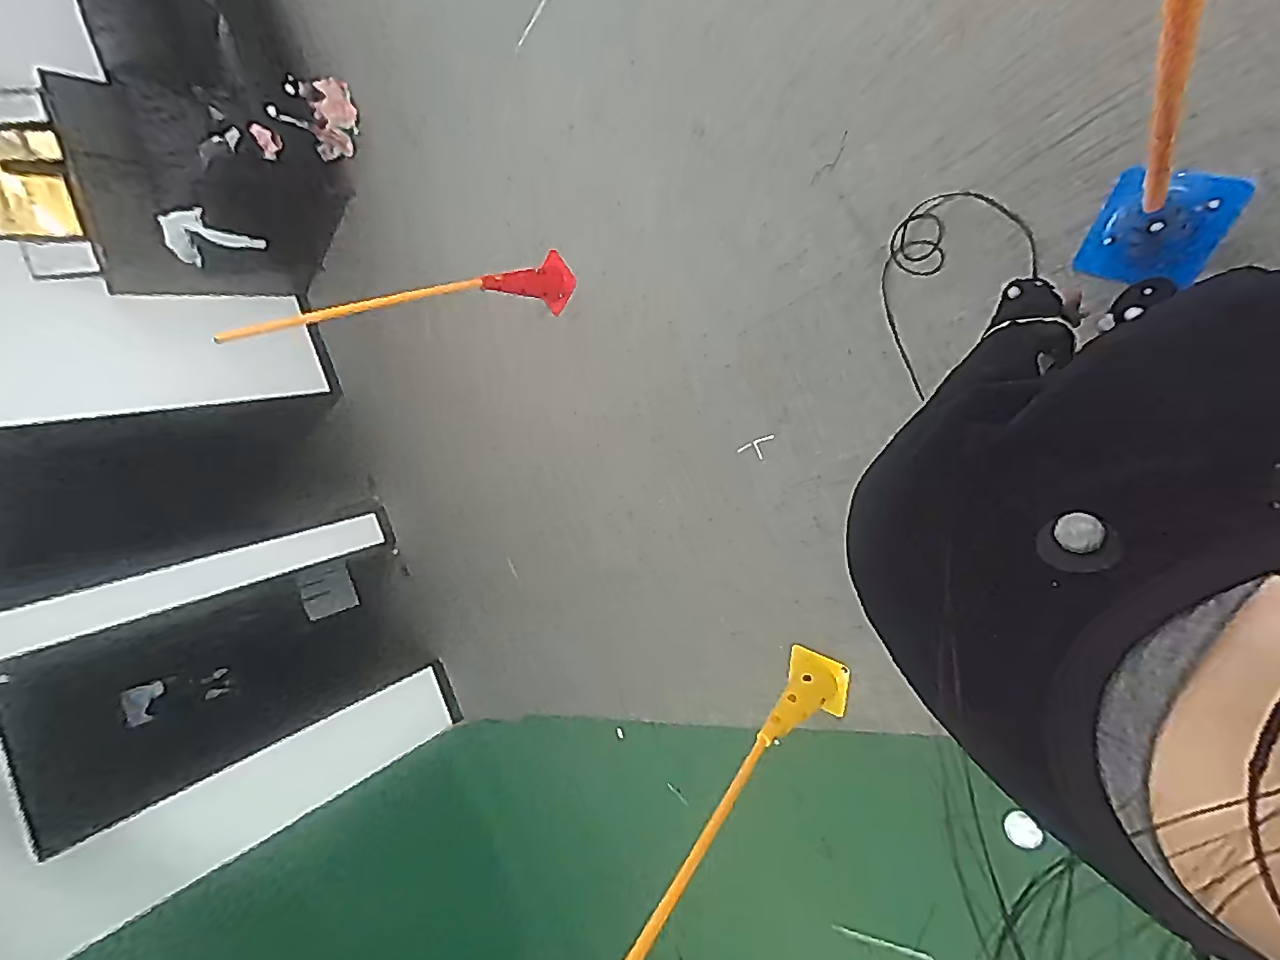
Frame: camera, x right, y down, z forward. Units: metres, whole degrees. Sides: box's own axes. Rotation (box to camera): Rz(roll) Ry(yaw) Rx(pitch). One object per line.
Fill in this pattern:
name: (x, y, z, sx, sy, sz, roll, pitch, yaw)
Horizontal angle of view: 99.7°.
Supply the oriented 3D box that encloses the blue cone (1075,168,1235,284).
blue cone: (0.870, -0.457, 0.924, 0.192, 0.380, 0.193, 32, 122, 32)
